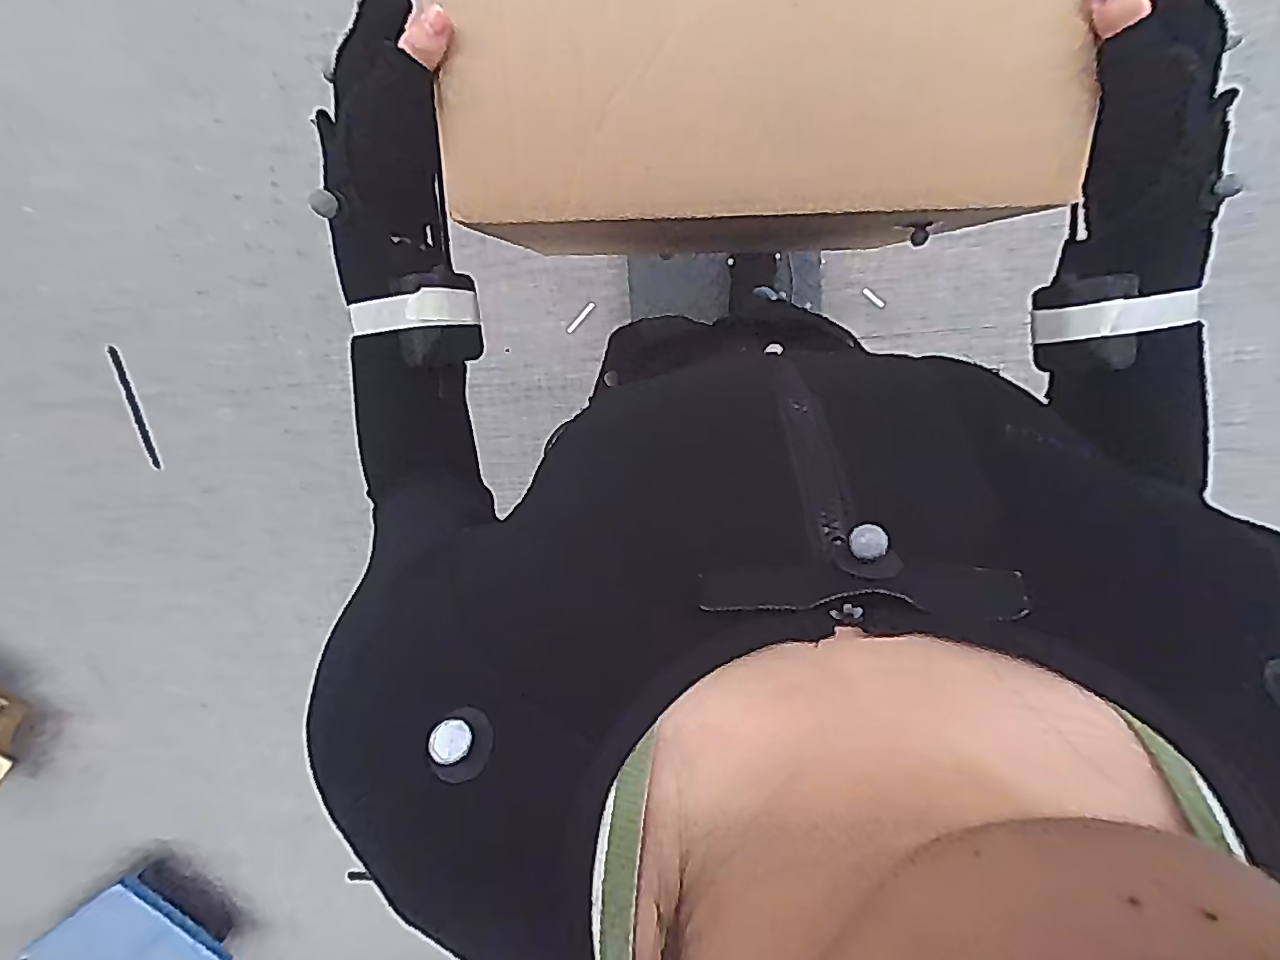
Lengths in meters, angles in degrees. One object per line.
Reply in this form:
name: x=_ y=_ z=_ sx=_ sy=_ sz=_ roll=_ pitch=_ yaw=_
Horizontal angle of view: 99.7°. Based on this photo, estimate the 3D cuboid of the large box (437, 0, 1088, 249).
large box: x=0.076 y=-0.376 z=0.456 sx=0.408 sy=0.320 sz=0.320 roll=-1 pitch=109 yaw=2
